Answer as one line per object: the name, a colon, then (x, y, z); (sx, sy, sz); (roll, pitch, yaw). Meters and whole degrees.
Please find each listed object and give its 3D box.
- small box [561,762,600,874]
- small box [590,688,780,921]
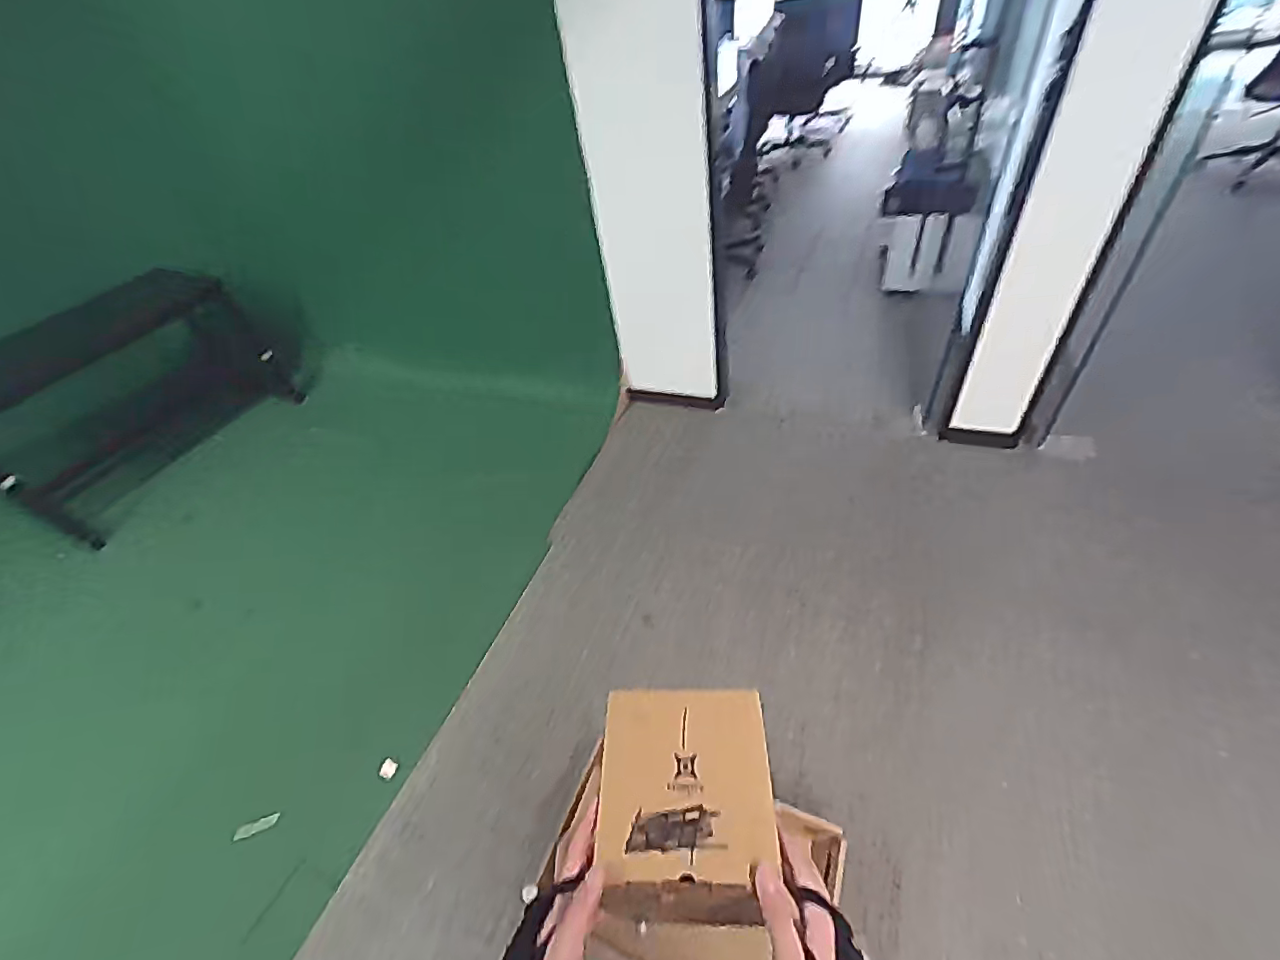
small box: (-0.044, 0.744, 1.153); (0.168, 0.176, 0.179); (10, 48, 20)
small box: (0.049, 0.342, 0.571); (0.168, 0.176, 0.179); (-2, 41, 4)
